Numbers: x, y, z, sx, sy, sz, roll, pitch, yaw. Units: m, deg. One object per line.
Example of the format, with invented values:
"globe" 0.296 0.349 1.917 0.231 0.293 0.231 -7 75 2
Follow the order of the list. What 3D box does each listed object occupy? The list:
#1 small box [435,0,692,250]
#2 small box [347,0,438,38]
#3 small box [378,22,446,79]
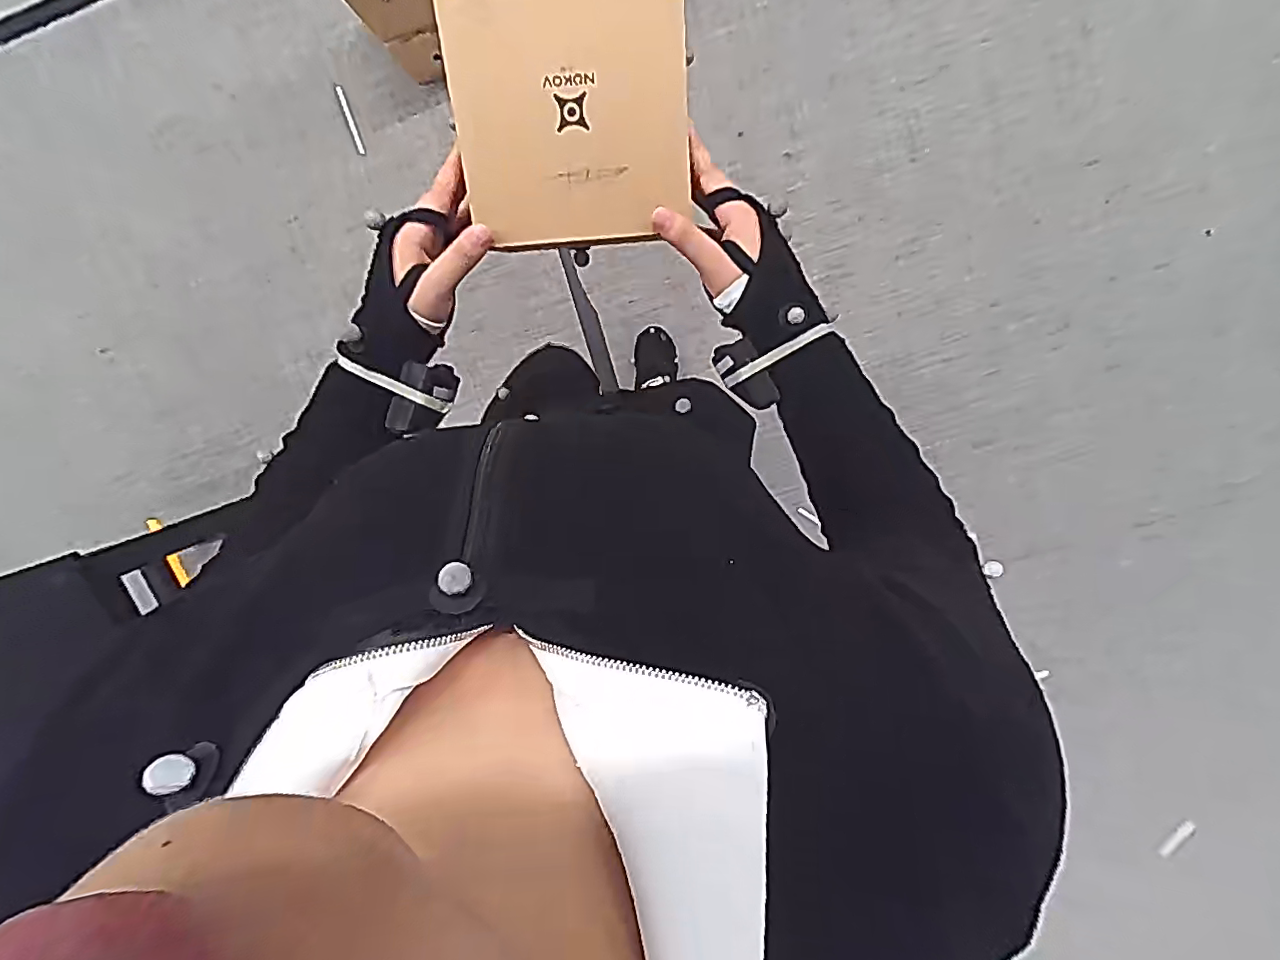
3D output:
"small box" -0.051 -0.290 0.442 0.168 0.176 0.179 -5 112 0
"small box" -0.481 -0.981 1.012 0.179 0.176 0.168 -15 102 5
"small box" -0.477 -1.013 1.175 0.168 0.176 0.179 -14 103 5
